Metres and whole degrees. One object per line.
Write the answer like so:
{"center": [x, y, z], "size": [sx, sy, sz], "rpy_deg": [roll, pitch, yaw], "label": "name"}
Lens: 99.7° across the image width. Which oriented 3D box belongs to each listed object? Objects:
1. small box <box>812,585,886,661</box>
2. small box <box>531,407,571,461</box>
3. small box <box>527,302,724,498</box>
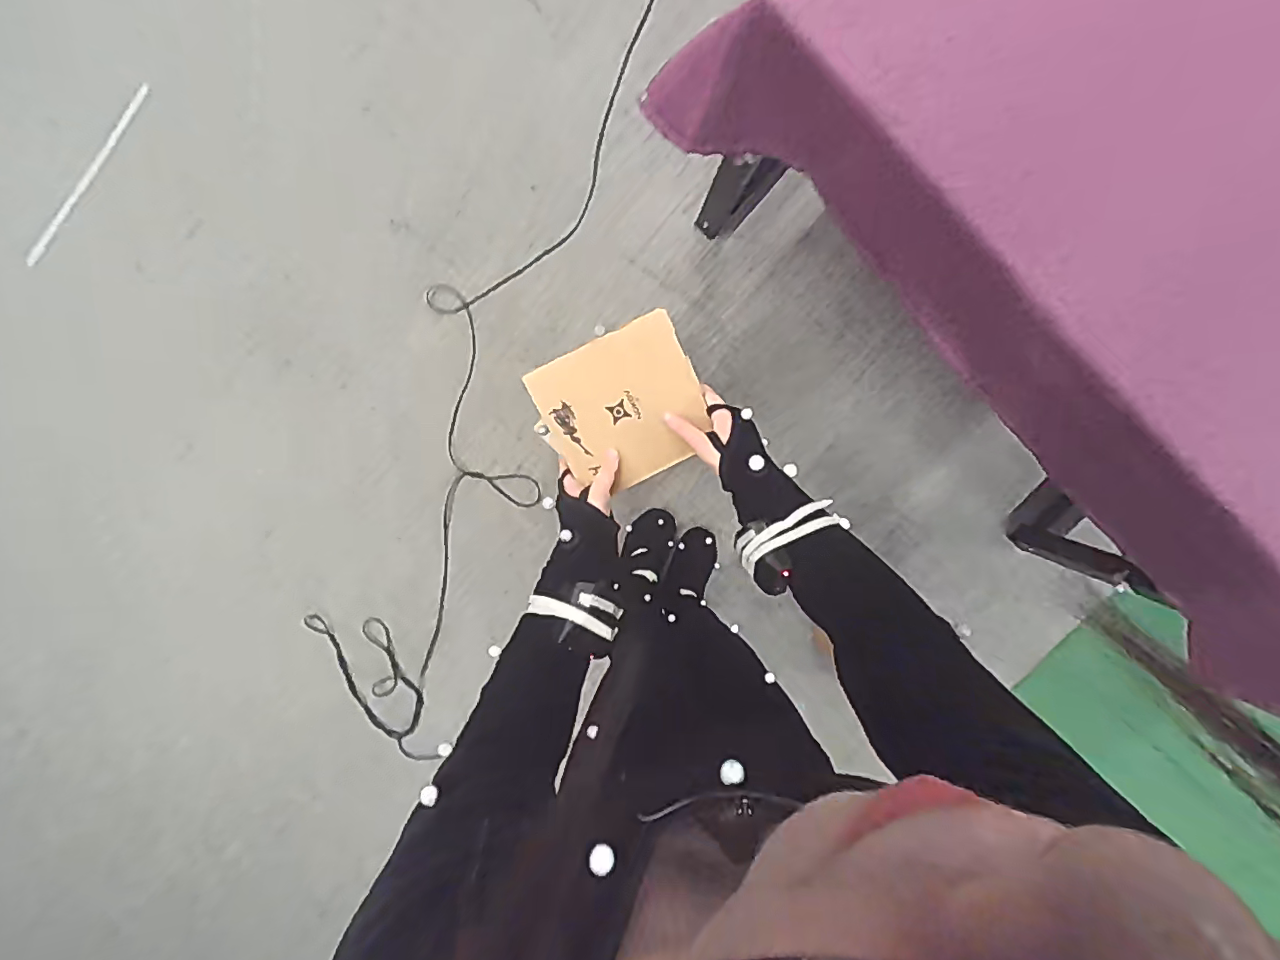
{"center": [0.569, 0.386, 1.363], "size": [0.179, 0.176, 0.168], "rpy_deg": [39, 96, -9], "label": "small box"}
{"center": [-0.090, -0.119, 1.078], "size": [0.179, 0.176, 0.168], "rpy_deg": [43, 96, -9], "label": "small box"}
{"center": [-0.023, -0.106, 0.673], "size": [0.179, 0.176, 0.168], "rpy_deg": [-26, 106, 0], "label": "small box"}
